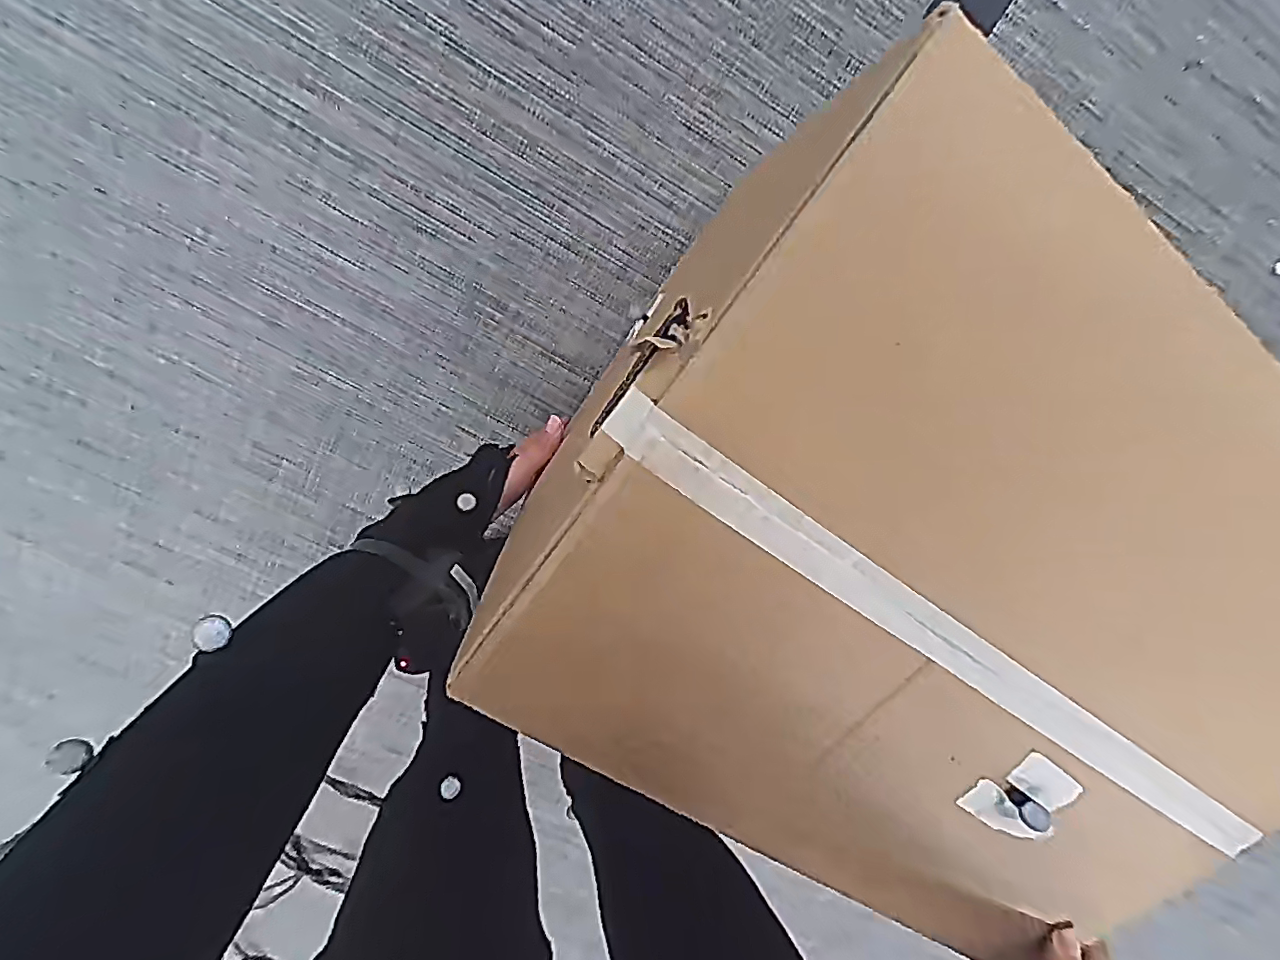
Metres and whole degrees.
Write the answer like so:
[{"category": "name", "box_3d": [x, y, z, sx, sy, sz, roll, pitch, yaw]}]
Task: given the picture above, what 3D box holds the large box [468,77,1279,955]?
[{"category": "large box", "box_3d": [0.156, 0.032, 0.398, 0.408, 0.320, 0.320, 33, 107, -14]}]
